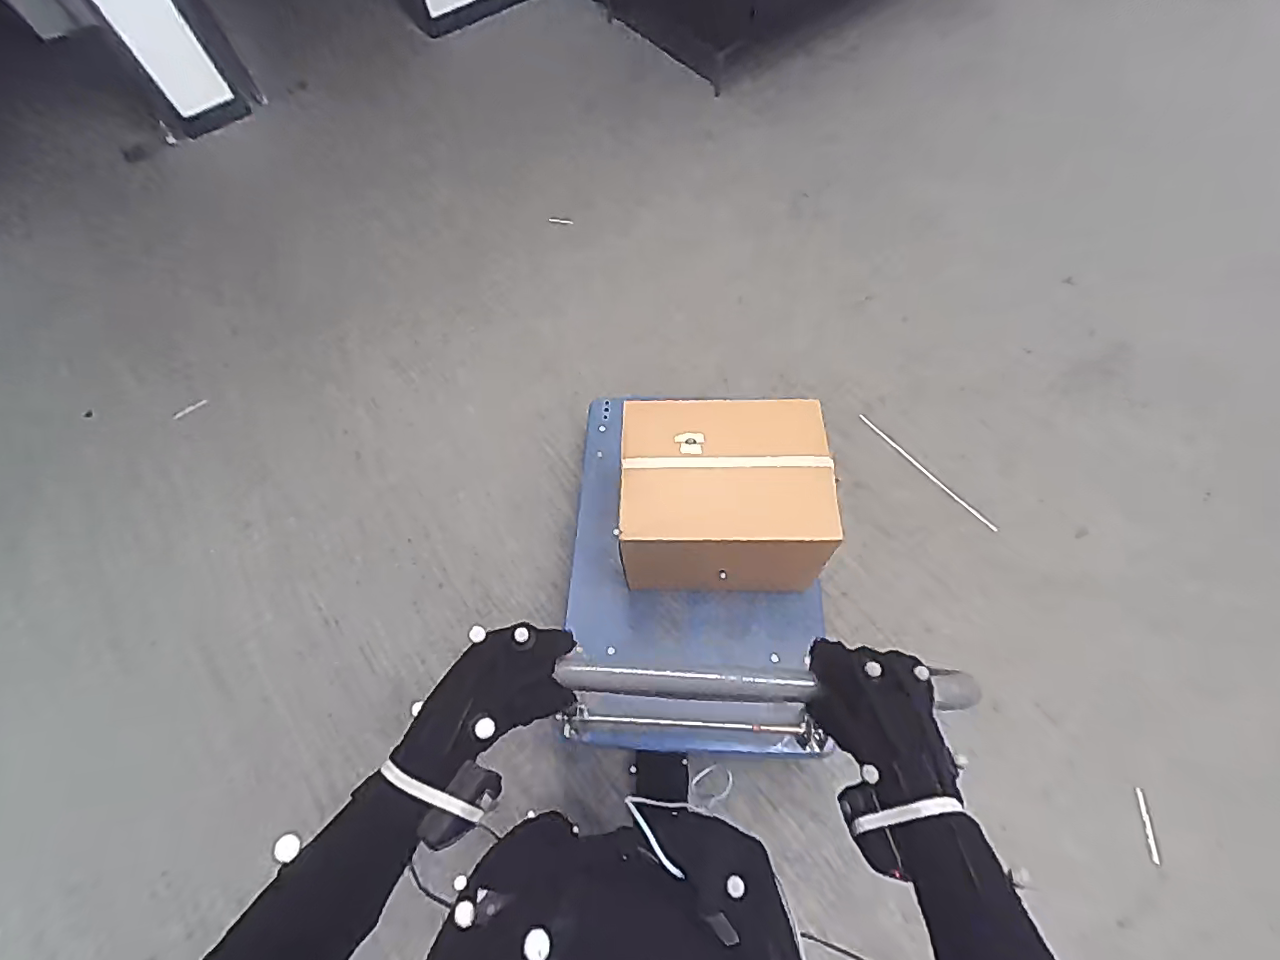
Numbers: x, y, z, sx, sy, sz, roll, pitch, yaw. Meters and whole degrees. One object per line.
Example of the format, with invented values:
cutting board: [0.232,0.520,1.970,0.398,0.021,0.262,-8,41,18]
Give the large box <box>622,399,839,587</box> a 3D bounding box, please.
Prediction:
large box: [0.175,0.043,1.189,0.408,0.320,0.320,-2,61,3]
